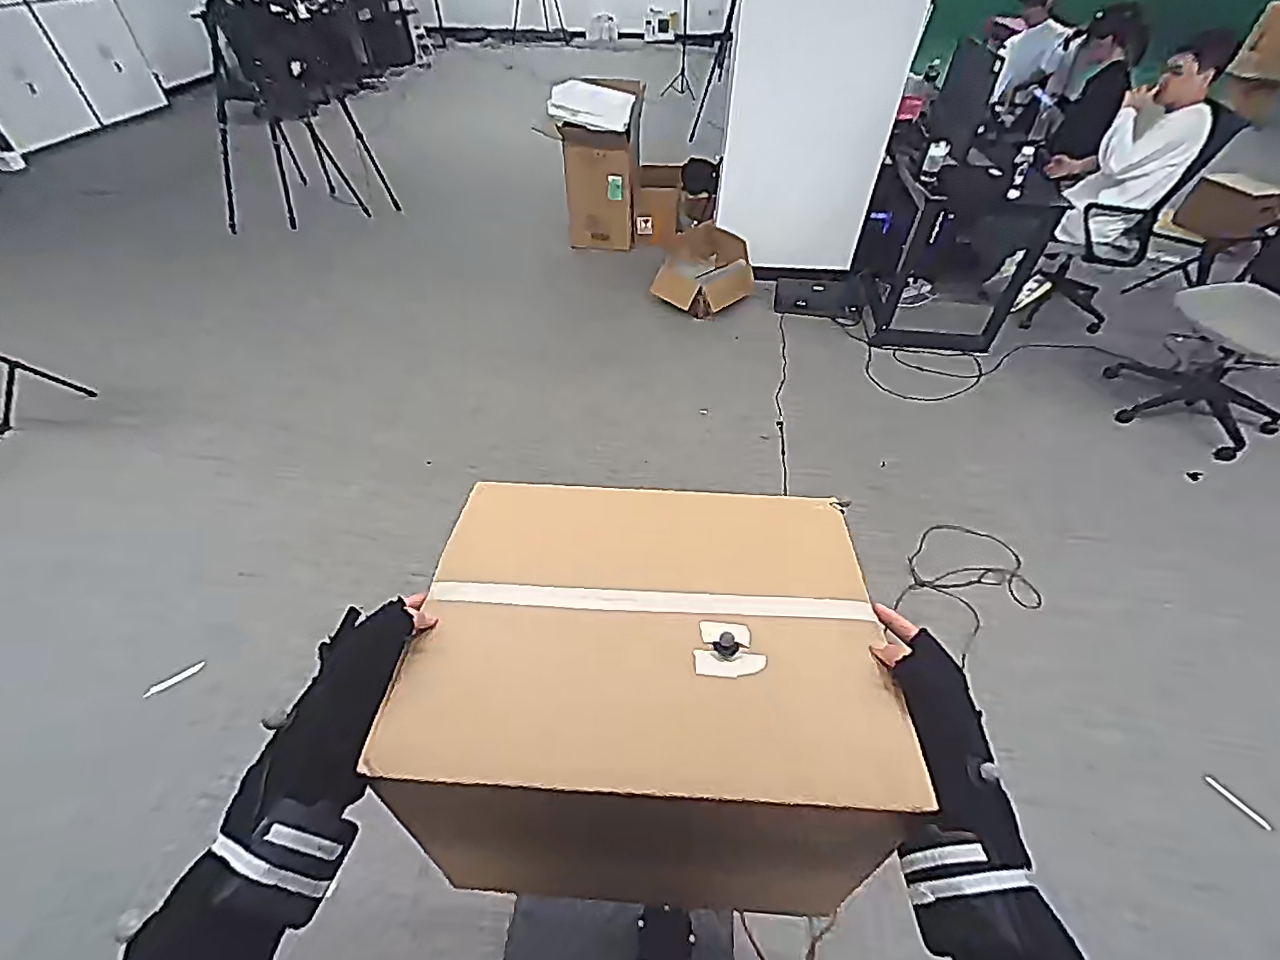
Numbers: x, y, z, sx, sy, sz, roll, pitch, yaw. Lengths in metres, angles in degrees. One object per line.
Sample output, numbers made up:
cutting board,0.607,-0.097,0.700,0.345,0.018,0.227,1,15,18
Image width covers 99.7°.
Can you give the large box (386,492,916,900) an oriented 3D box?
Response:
large box,0.009,0.234,0.605,0.408,0.320,0.320,3,41,2
